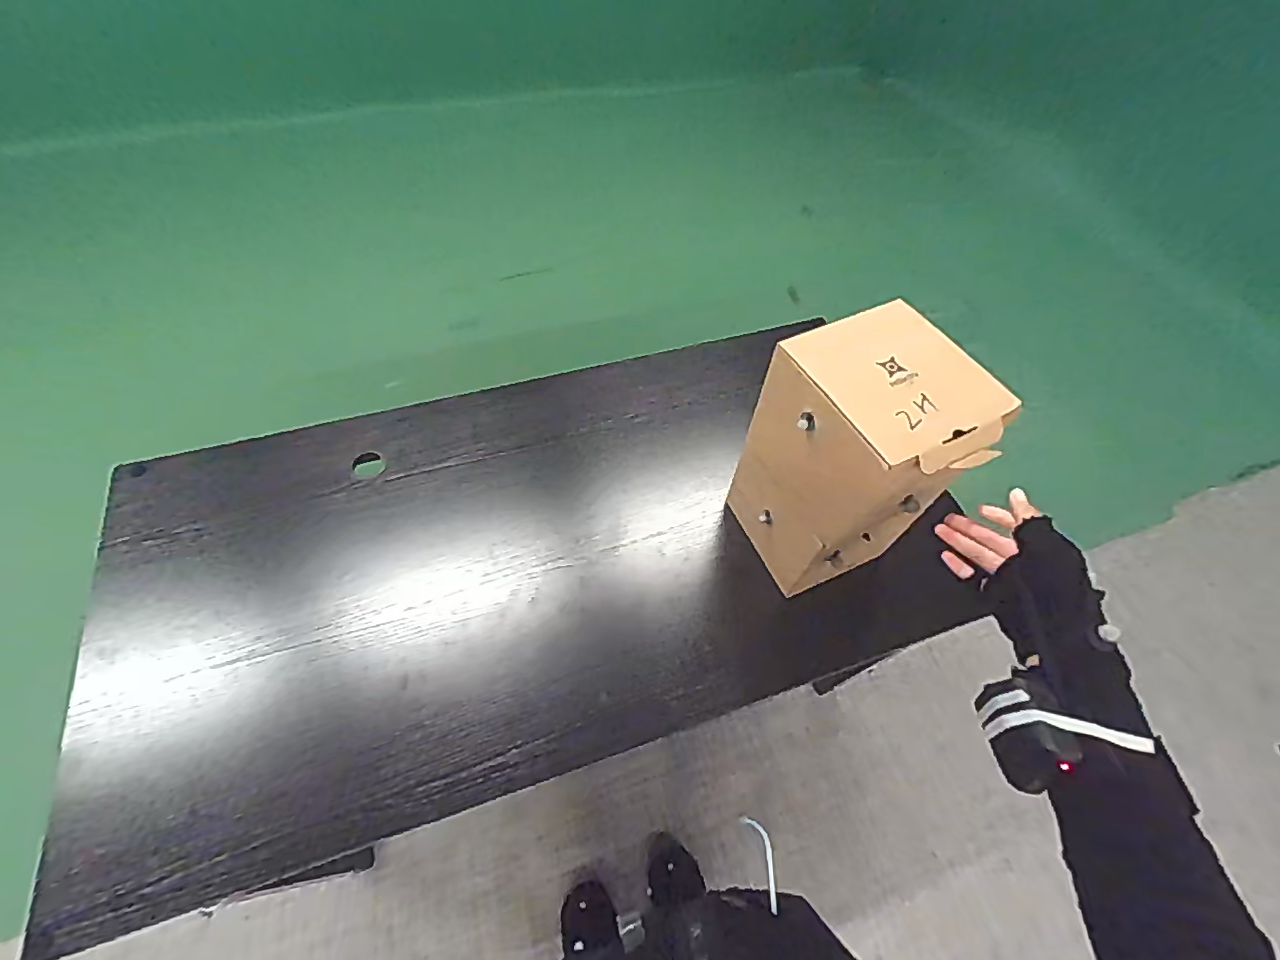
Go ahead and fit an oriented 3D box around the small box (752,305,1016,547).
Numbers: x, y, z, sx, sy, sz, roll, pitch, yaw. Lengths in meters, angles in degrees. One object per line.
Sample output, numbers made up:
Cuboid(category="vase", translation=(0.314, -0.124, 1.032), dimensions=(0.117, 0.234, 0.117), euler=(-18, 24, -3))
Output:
Cuboid(category="small box", translation=(0.246, -0.056, 0.600), dimensions=(0.168, 0.176, 0.179), euler=(-23, 61, -15))
